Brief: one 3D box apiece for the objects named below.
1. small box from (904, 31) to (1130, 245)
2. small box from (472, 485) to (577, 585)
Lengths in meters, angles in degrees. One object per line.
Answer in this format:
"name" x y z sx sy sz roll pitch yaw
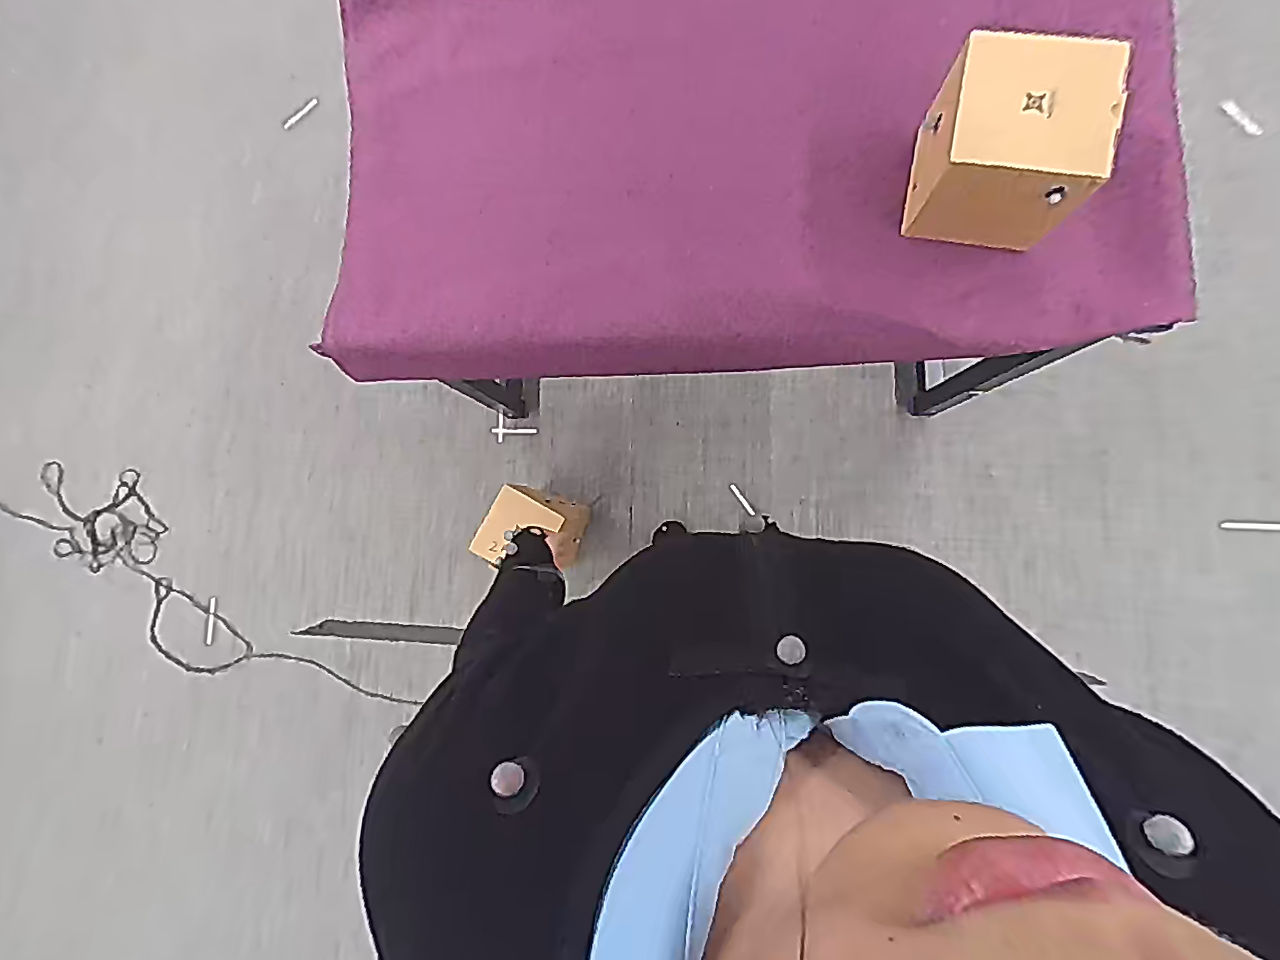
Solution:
"small box" 0.466 -0.427 0.698 0.179 0.176 0.168 10 87 7
"small box" -0.266 0.128 1.301 0.168 0.176 0.179 29 90 7
